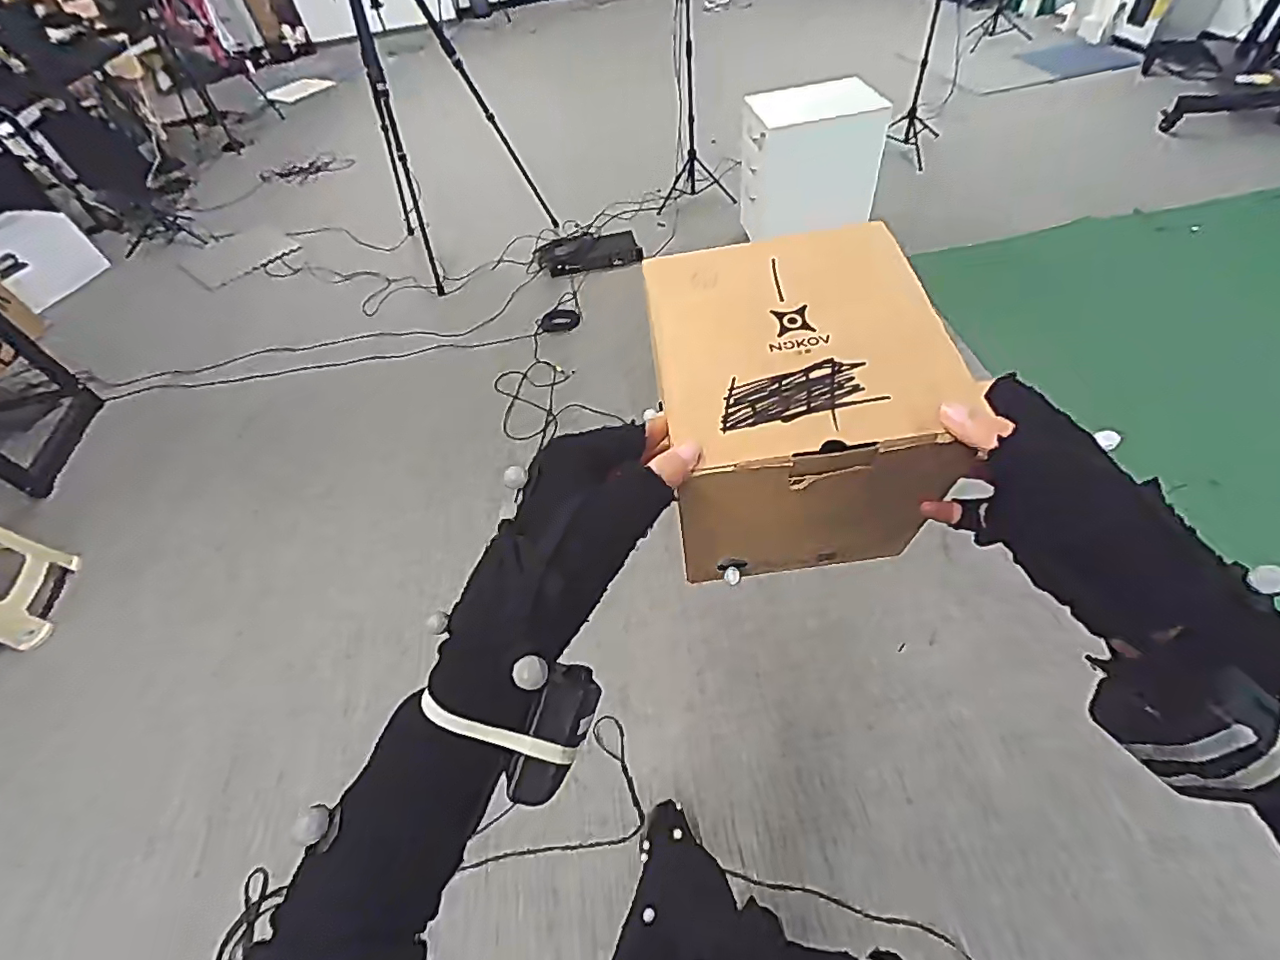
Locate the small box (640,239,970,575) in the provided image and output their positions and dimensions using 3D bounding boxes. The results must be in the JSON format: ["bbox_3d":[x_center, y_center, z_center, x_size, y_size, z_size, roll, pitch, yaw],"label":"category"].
[{"bbox_3d":[0.097,-0.040,0.398,0.168,0.176,0.179,-8,58,3],"label":"small box"}]
